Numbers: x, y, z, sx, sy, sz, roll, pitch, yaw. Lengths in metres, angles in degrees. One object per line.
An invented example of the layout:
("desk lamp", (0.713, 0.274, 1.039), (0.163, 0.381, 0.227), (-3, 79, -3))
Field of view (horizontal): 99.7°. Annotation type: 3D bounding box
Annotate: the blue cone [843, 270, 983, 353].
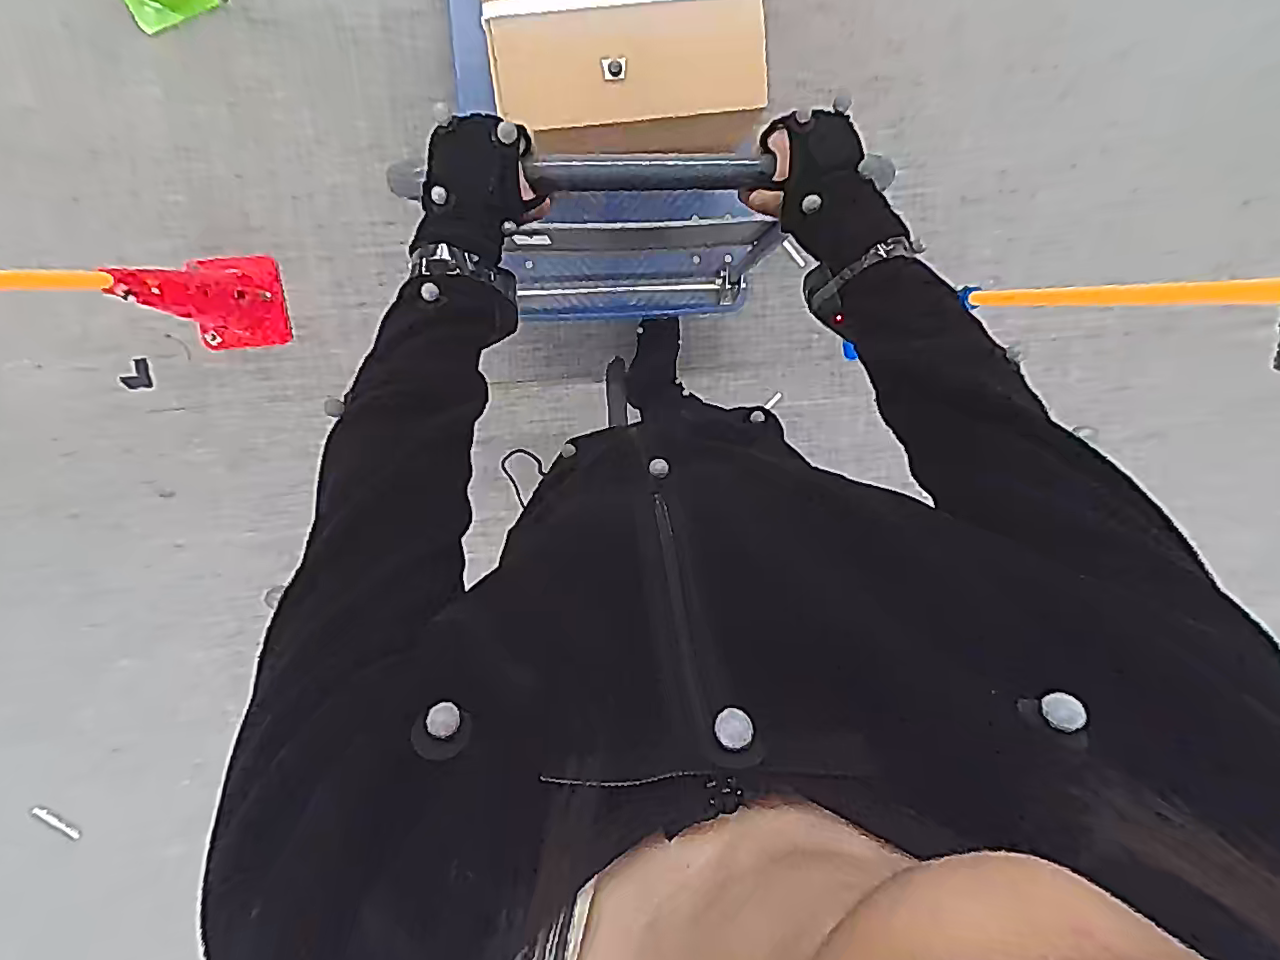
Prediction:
("blue cone", (0.630, -0.396, 1.220), (0.193, 0.380, 0.192), (-9, 101, -3))
